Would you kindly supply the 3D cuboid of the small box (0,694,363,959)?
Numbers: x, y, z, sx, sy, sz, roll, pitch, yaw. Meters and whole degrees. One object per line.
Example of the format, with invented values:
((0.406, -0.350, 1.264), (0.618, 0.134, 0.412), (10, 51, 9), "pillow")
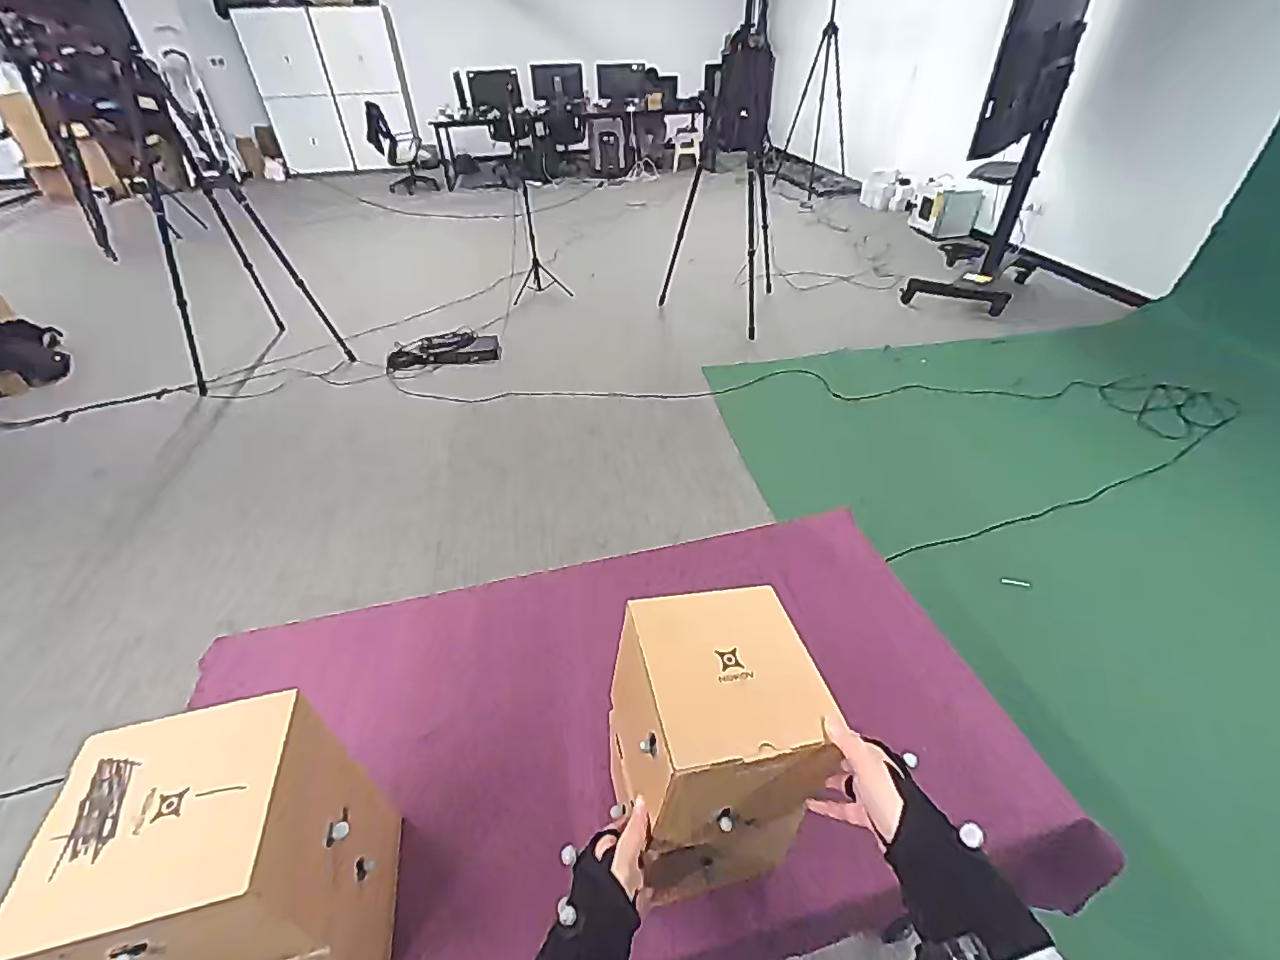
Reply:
((-0.380, 0.328, 0.487), (0.179, 0.176, 0.168), (-10, 40, -10), "small box")

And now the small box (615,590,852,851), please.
((0.075, 0.239, 0.555), (0.168, 0.176, 0.179), (-3, 39, -15), "small box")

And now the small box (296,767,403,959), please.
((-0.373, 0.455, 0.591), (0.168, 0.176, 0.179), (-10, 39, -10), "small box")

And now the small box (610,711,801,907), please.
((0.068, 0.378, 0.654), (0.179, 0.176, 0.168), (-9, 40, -11), "small box")
